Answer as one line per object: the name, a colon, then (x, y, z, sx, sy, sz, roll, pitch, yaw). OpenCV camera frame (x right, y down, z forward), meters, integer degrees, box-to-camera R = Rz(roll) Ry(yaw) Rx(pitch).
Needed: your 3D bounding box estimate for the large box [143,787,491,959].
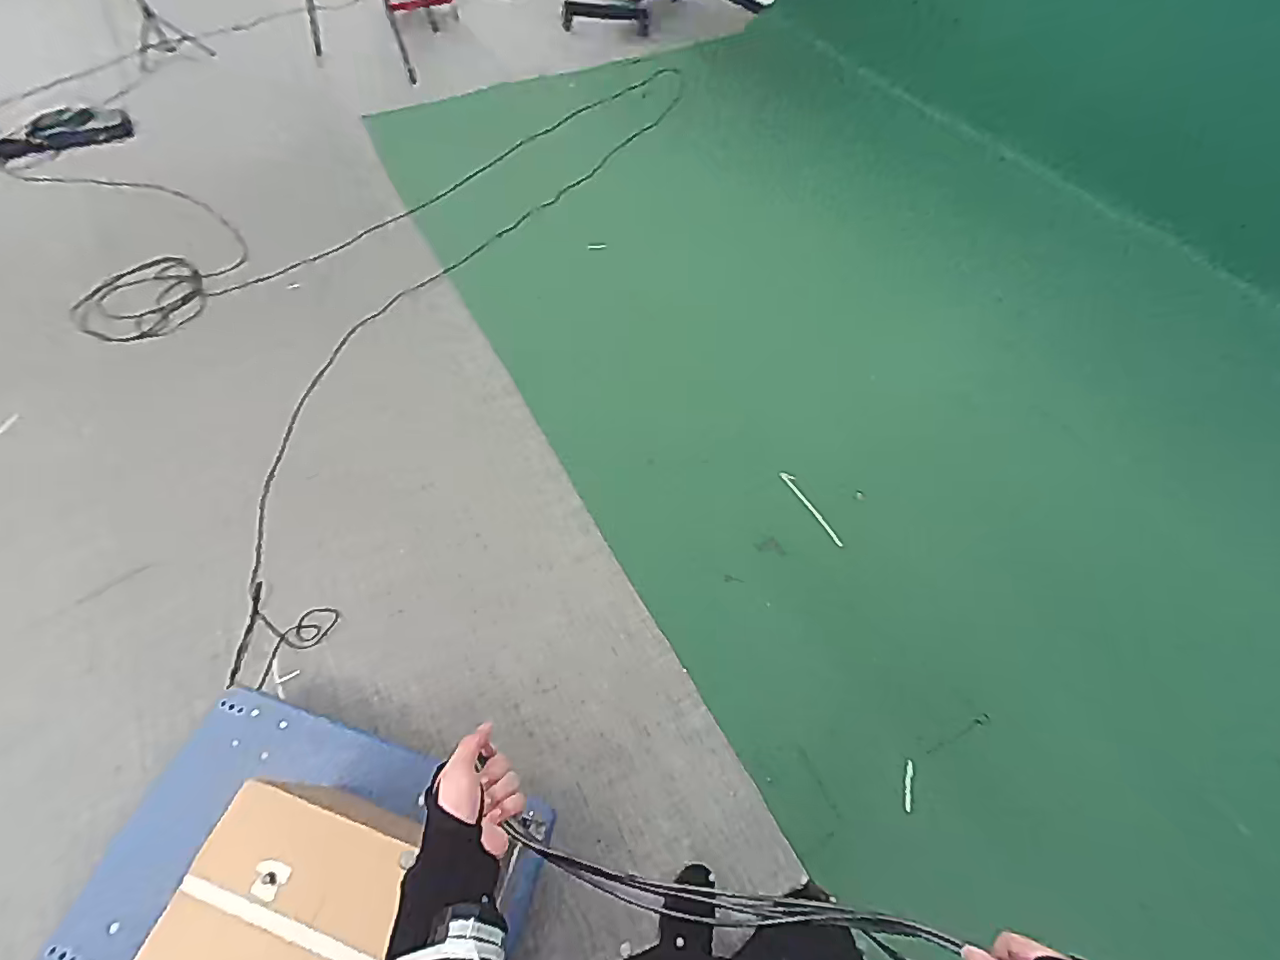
large box: (-0.541, 0.789, 0.968, 0.408, 0.320, 0.320, 15, 58, 10)
